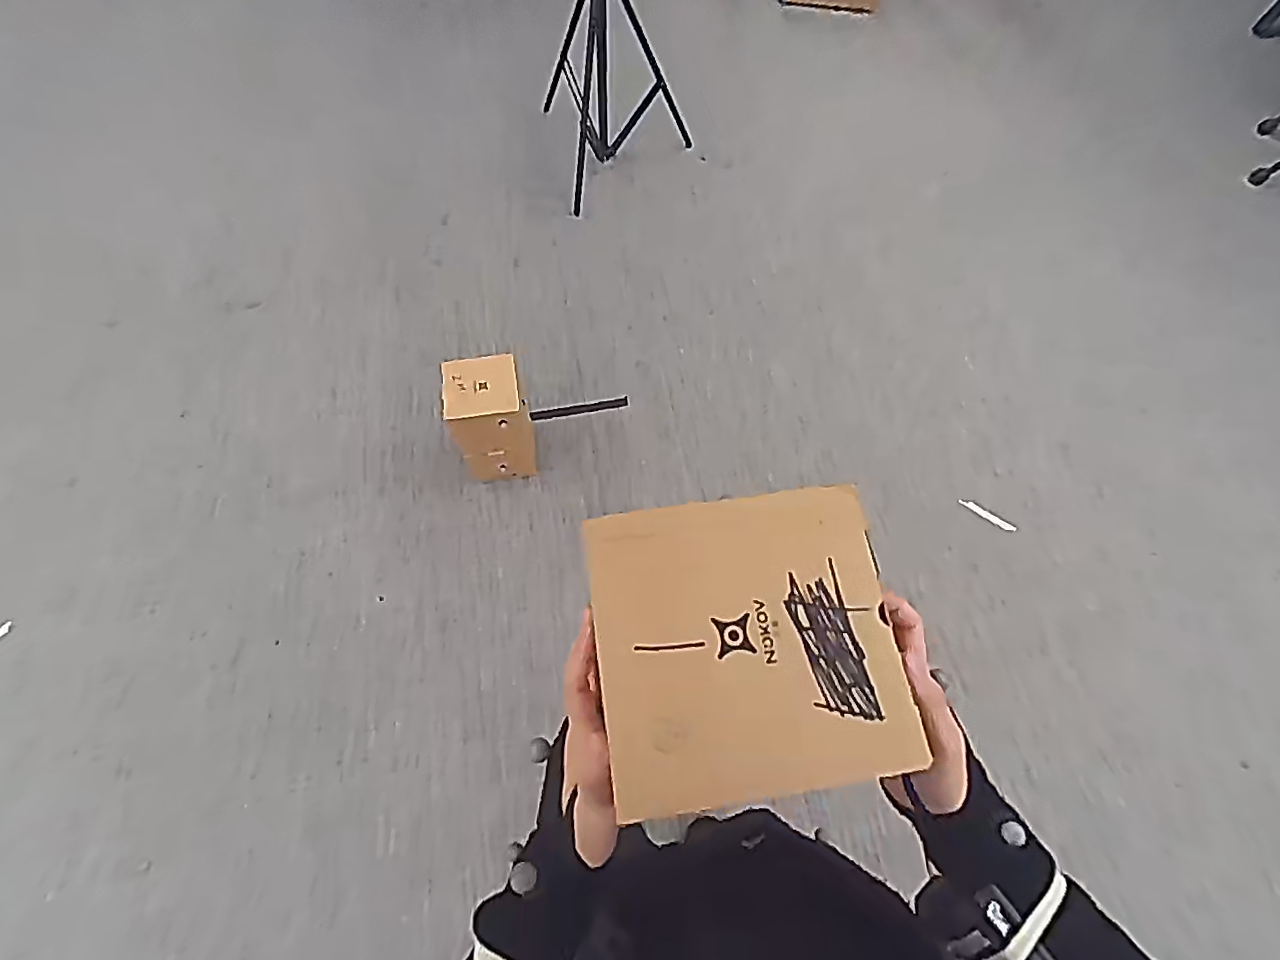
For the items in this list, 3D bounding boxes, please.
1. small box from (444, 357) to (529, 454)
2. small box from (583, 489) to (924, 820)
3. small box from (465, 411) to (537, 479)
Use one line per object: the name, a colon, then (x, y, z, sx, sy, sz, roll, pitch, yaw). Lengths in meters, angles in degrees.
small box: (-0.375, -0.182, 1.346, 0.179, 0.176, 0.168, -9, 65, -6)
small box: (0.056, 0.116, 0.387, 0.179, 0.176, 0.168, -7, 71, -5)
small box: (-0.383, -0.112, 1.496, 0.168, 0.176, 0.179, -8, 67, -6)
